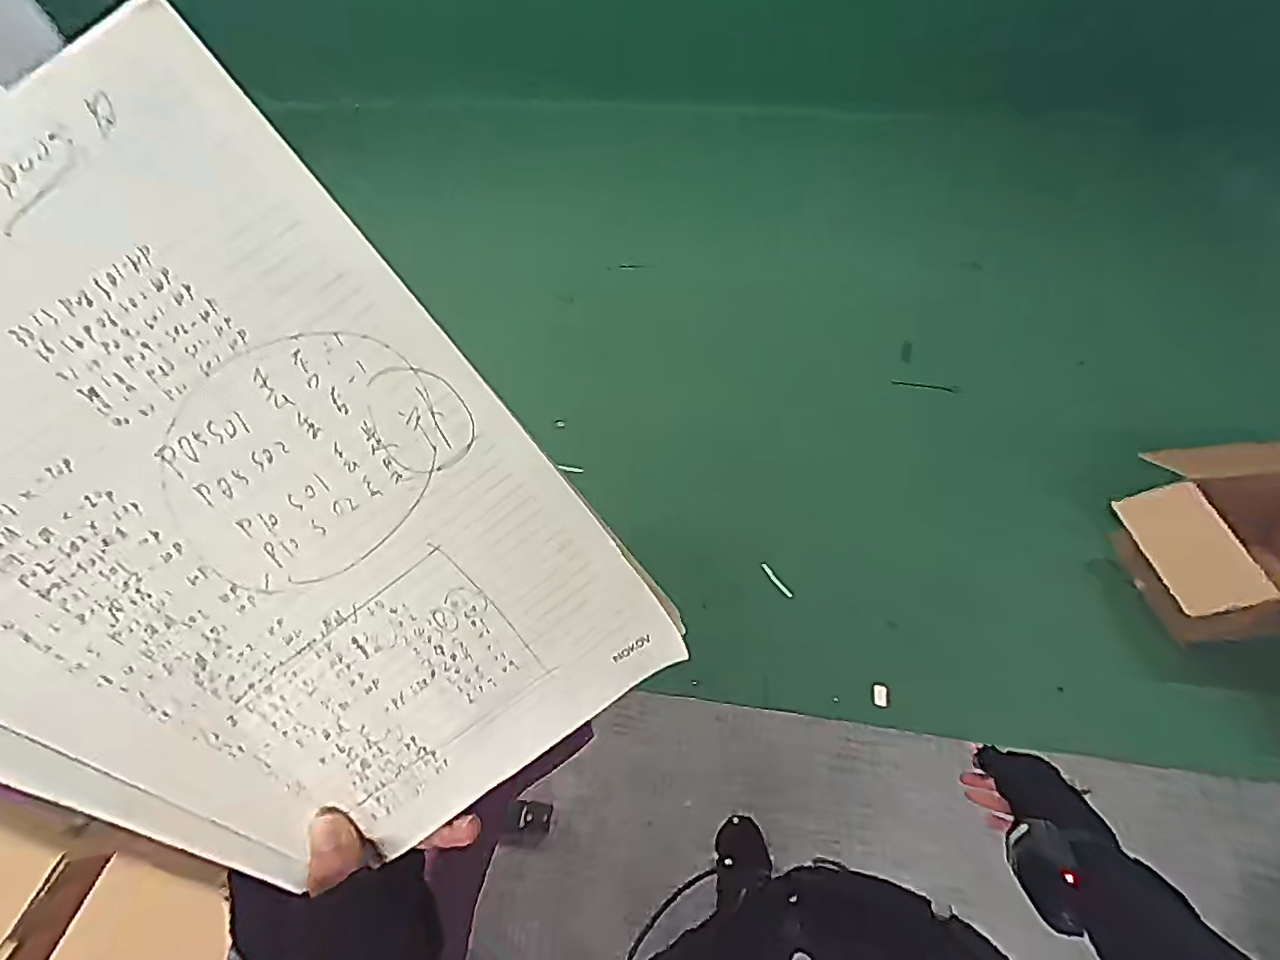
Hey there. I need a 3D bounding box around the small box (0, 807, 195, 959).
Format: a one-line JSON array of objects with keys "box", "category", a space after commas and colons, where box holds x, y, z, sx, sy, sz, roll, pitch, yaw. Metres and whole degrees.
[{"box": [-0.584, 0.417, 0.501, 0.179, 0.176, 0.168, 12, 58, 10], "category": "small box"}]
